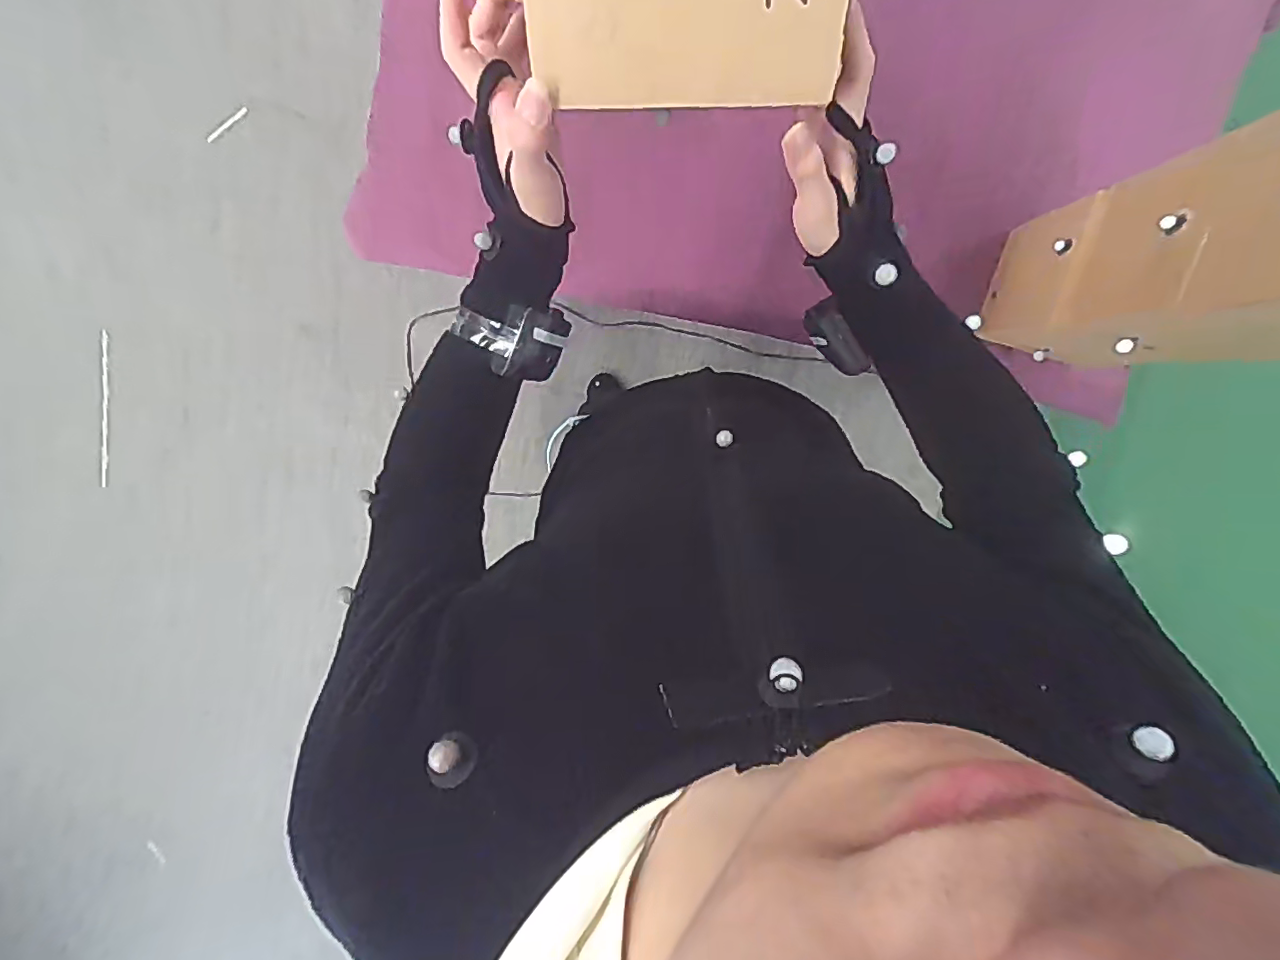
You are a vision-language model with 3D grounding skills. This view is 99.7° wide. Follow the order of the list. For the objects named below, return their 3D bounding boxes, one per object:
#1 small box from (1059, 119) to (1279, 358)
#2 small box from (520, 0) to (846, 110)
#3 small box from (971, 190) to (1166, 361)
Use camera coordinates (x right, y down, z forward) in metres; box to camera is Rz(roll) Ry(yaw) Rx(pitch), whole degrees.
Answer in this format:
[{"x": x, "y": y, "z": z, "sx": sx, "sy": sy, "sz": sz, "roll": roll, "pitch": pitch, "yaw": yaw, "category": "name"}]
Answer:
[{"x": 0.615, "y": -0.242, "z": 0.590, "sx": 0.168, "sy": 0.176, "sz": 0.179, "roll": 16, "pitch": 100, "yaw": 0, "category": "small box"}, {"x": 0.022, "y": -0.332, "z": 0.323, "sx": 0.179, "sy": 0.176, "sz": 0.168, "roll": -1, "pitch": 133, "yaw": -1, "category": "small box"}, {"x": 0.615, "y": -0.267, "z": 0.751, "sx": 0.179, "sy": 0.176, "sz": 0.168, "roll": 15, "pitch": 99, "yaw": -2, "category": "small box"}]
